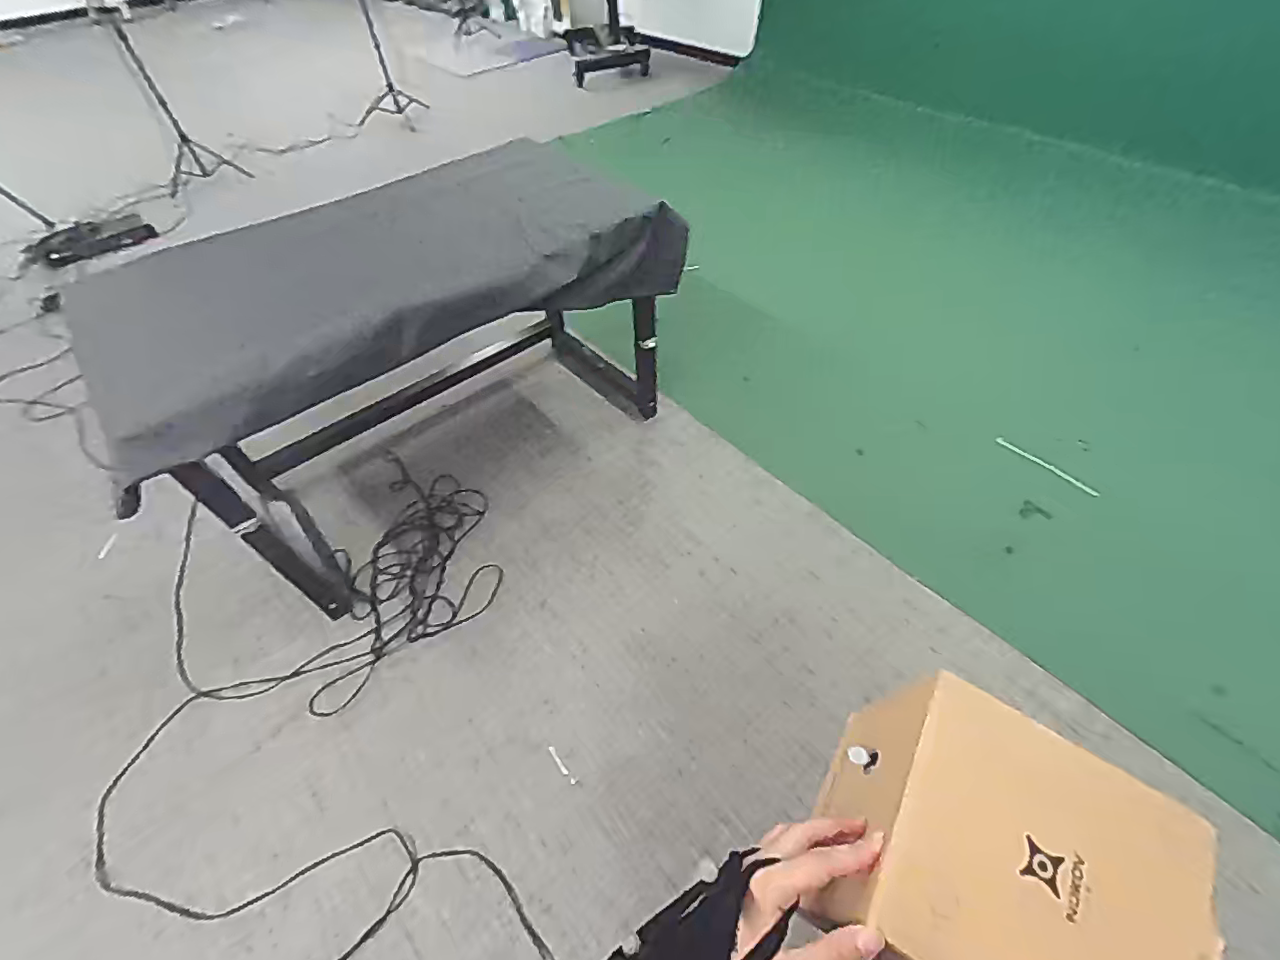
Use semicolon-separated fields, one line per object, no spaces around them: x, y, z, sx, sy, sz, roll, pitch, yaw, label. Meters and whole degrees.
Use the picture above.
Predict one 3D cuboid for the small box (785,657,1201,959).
0.226;0.262;0.382;0.179;0.176;0.168;29;59;14;small box
